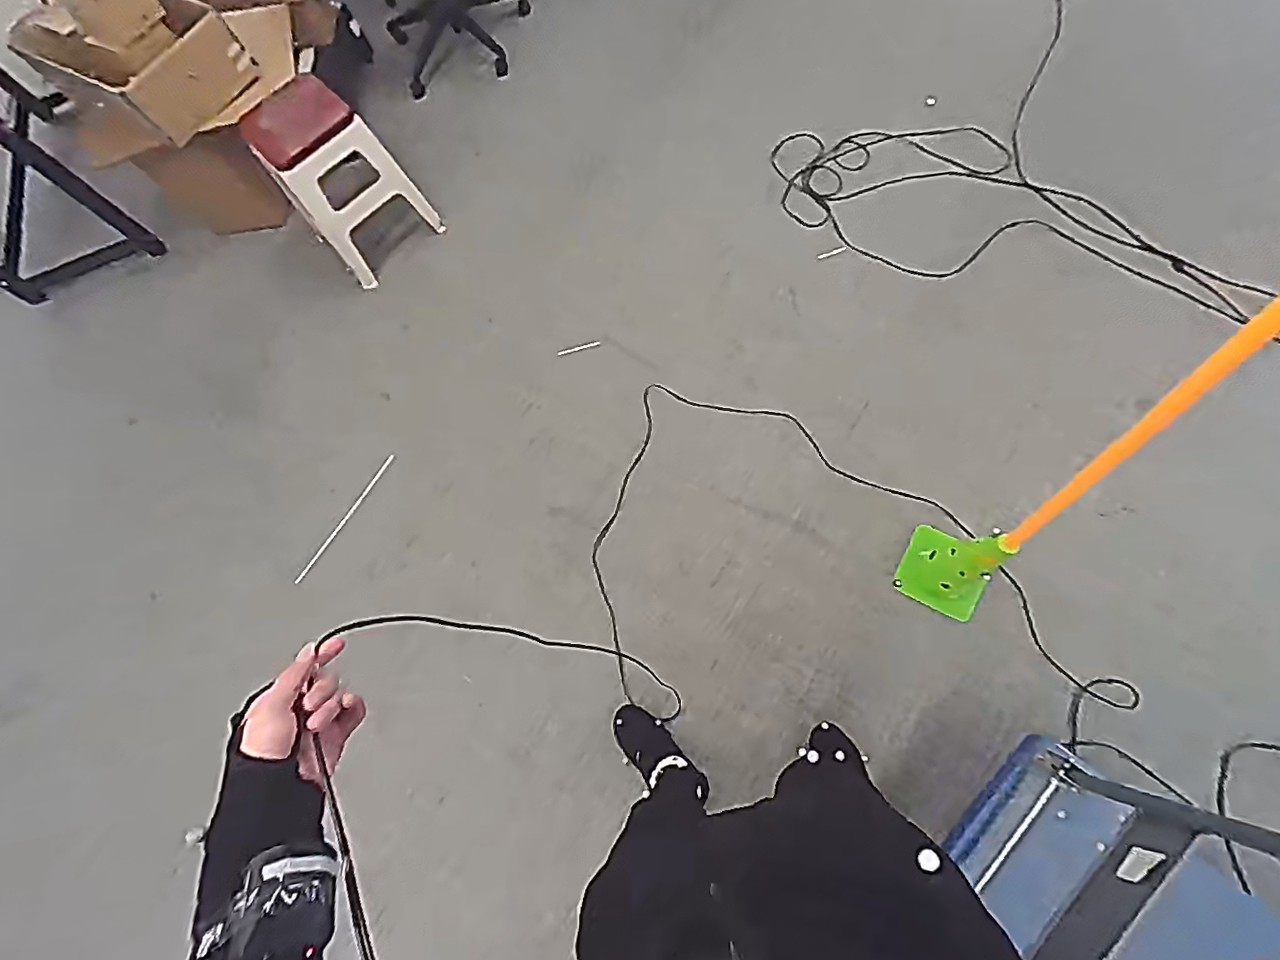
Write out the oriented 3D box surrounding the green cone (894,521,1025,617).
[{"bbox_3d":[0.766,0.172,1.239,0.200,0.368,0.202,27,76,15],"label":"green cone"}]
